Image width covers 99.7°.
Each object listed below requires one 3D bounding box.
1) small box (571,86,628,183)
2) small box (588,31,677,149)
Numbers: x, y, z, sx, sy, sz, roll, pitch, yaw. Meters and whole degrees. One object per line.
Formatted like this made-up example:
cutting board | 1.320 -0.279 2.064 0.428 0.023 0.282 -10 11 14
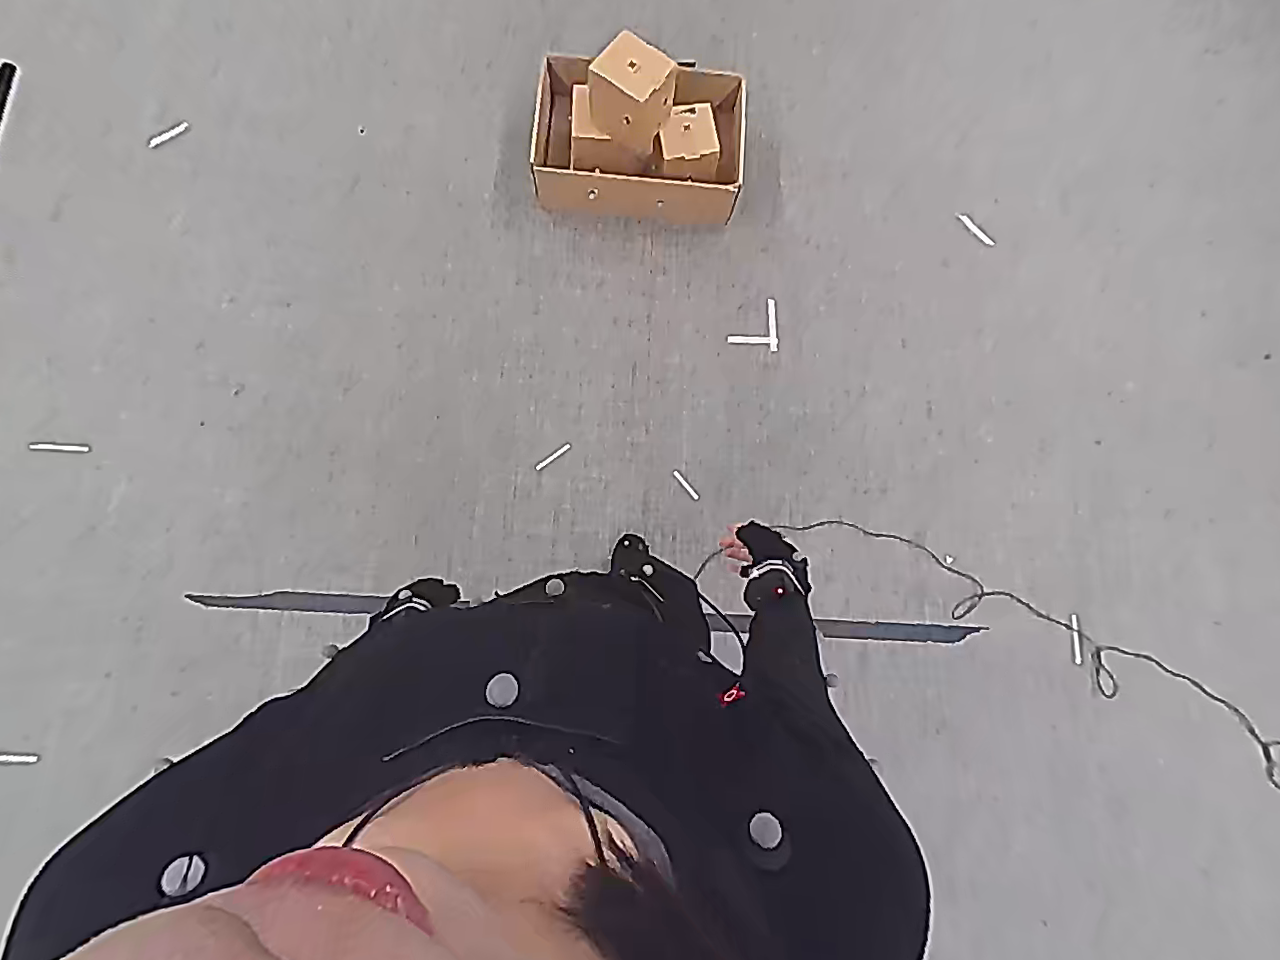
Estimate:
small box | -0.120 -1.033 1.624 0.168 0.176 0.179 2 80 -5
small box | -0.023 -1.045 1.468 0.179 0.176 0.168 35 77 4
